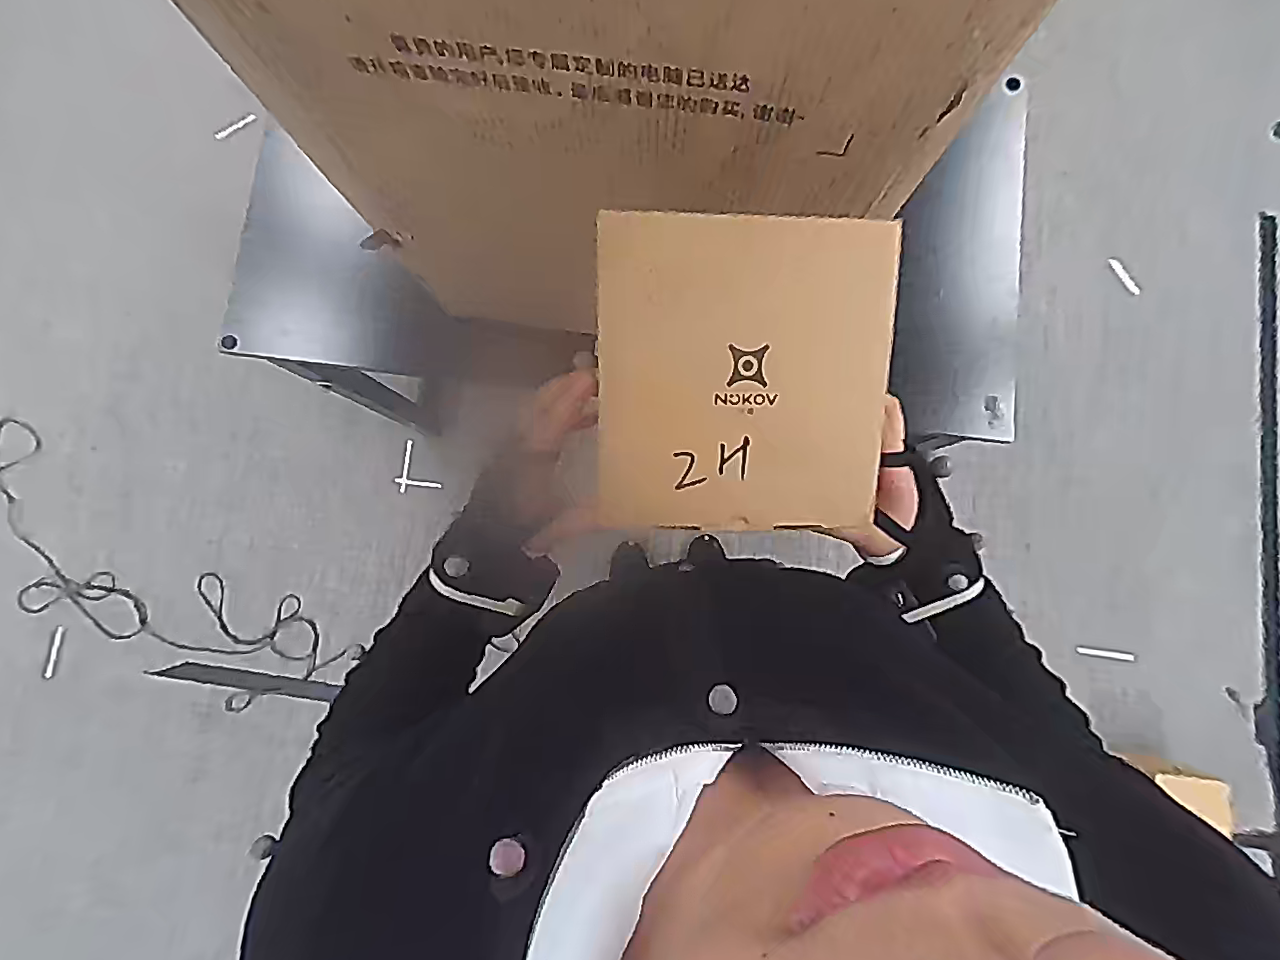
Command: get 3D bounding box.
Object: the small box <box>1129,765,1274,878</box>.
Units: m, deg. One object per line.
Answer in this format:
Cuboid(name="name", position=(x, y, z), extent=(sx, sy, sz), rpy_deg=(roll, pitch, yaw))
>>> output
Cuboid(name="small box", position=(1.328, 0.803, 1.287), extent=(0.179, 0.176, 0.168), rpy_deg=(6, 83, 2))
